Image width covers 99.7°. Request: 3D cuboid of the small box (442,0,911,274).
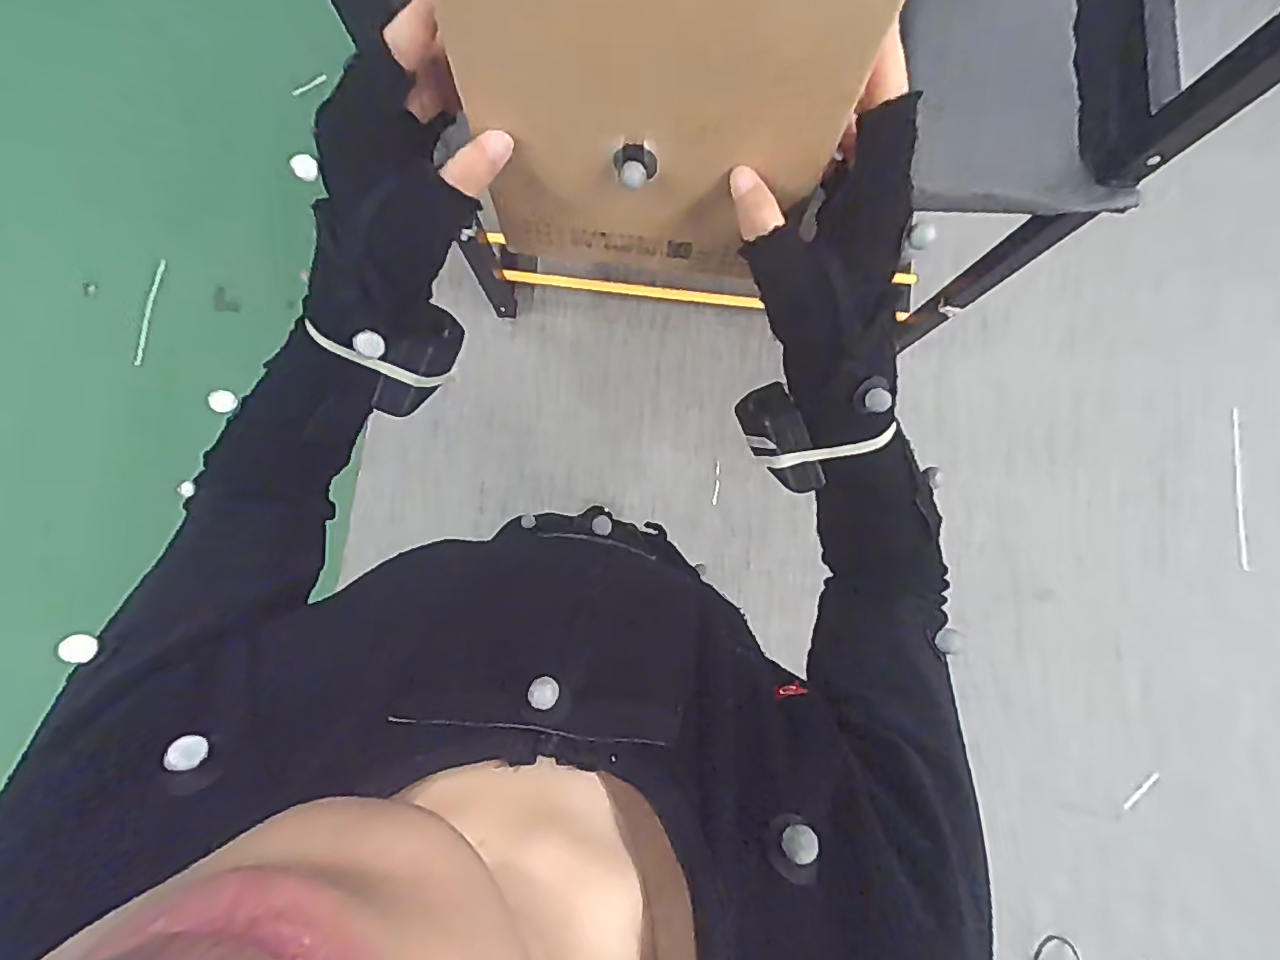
[{"bbox_3d":[0.018,-0.230,0.269,0.168,0.176,0.179,7,77,-1],"label":"small box"}]
